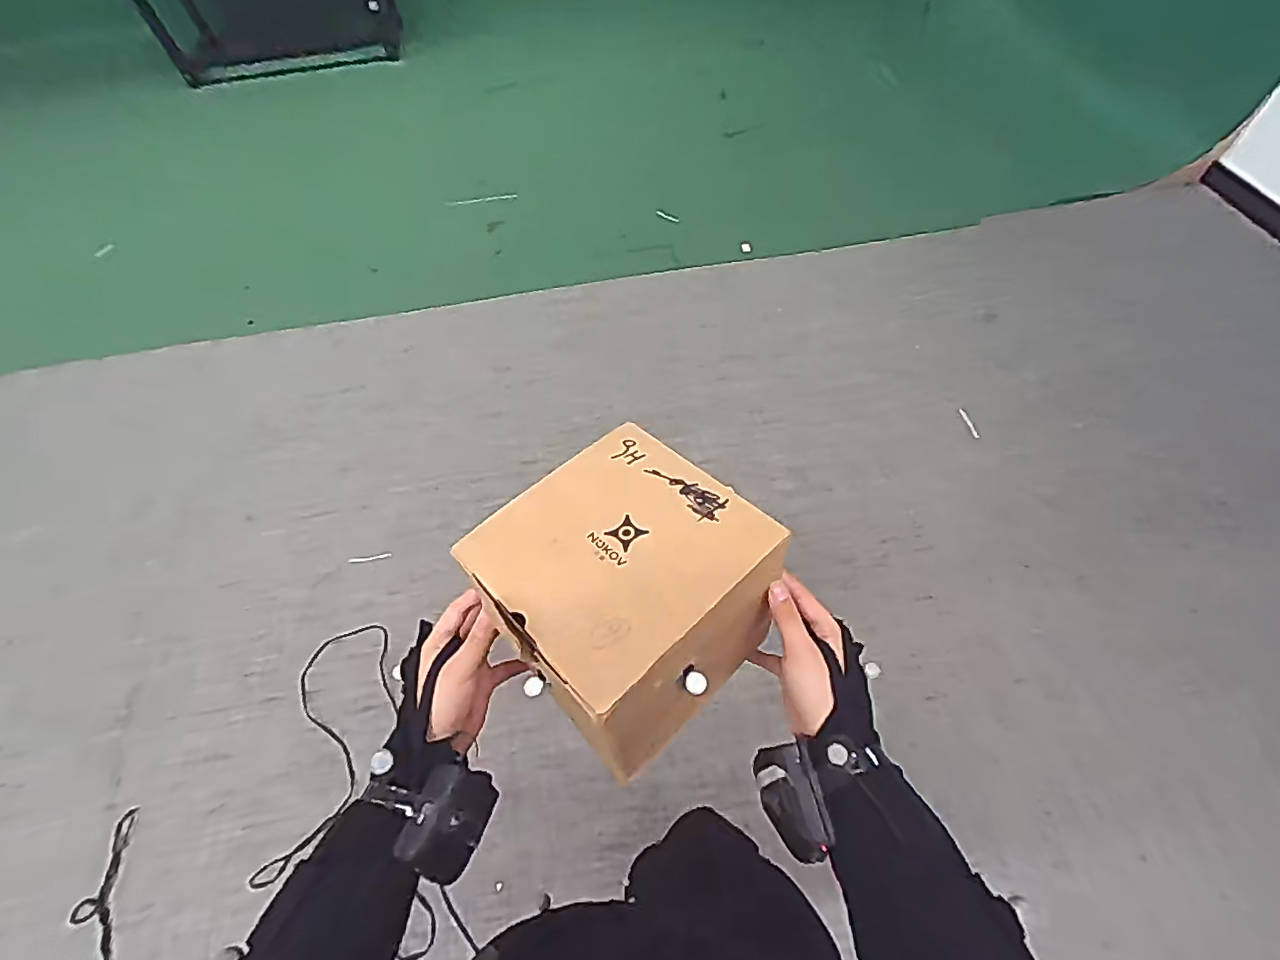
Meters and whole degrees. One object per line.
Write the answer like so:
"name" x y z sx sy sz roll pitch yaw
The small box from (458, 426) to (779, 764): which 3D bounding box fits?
"small box" -0.009 0.095 0.444 0.179 0.176 0.168 -38 56 -23
